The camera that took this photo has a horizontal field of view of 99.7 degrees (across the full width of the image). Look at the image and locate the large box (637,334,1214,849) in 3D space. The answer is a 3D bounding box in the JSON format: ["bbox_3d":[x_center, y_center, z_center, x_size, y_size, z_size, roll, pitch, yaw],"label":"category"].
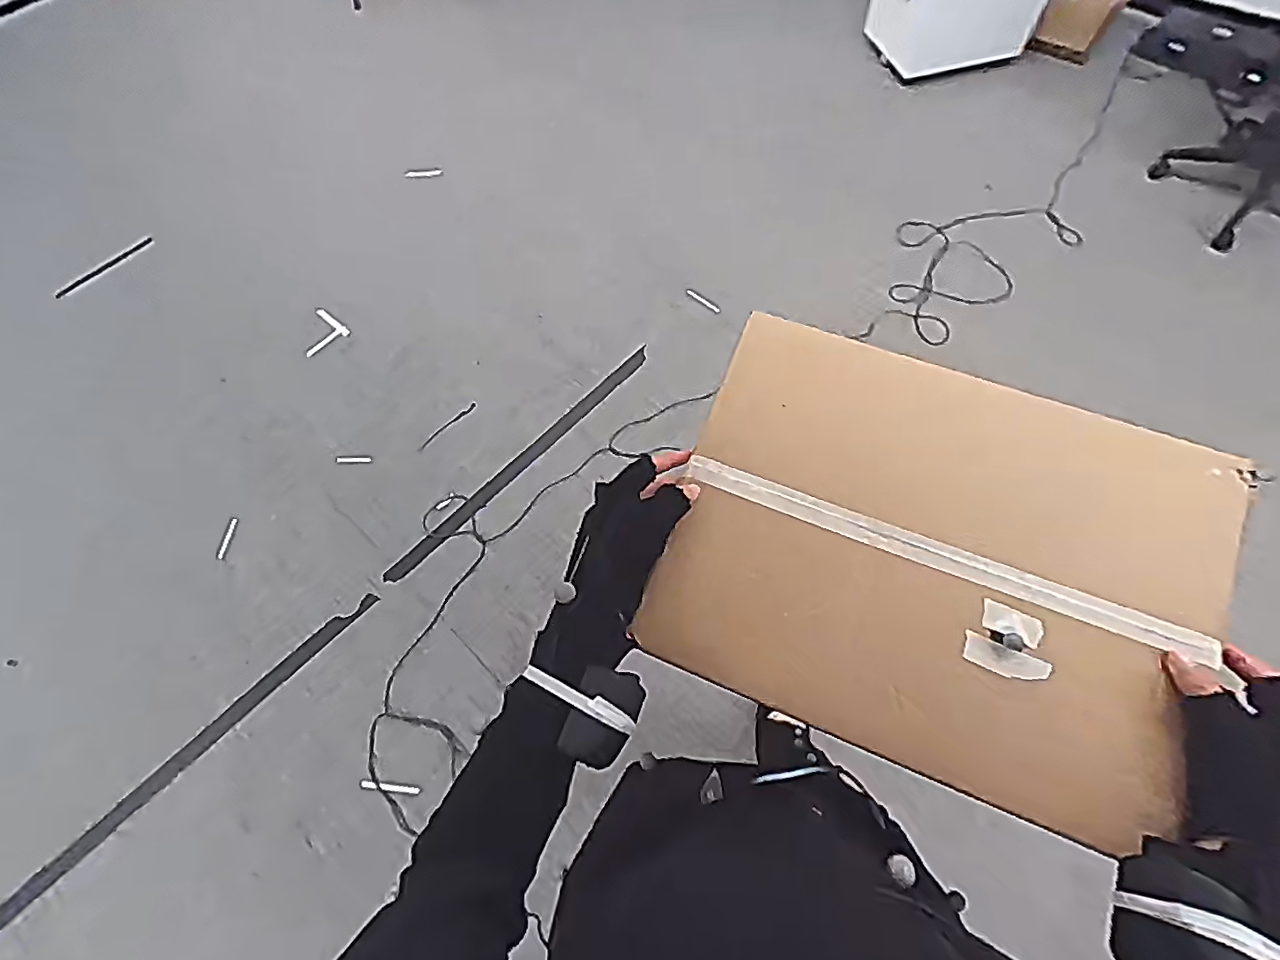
[{"bbox_3d":[0.244,0.098,0.589,0.408,0.320,0.320,20,80,10],"label":"large box"}]
